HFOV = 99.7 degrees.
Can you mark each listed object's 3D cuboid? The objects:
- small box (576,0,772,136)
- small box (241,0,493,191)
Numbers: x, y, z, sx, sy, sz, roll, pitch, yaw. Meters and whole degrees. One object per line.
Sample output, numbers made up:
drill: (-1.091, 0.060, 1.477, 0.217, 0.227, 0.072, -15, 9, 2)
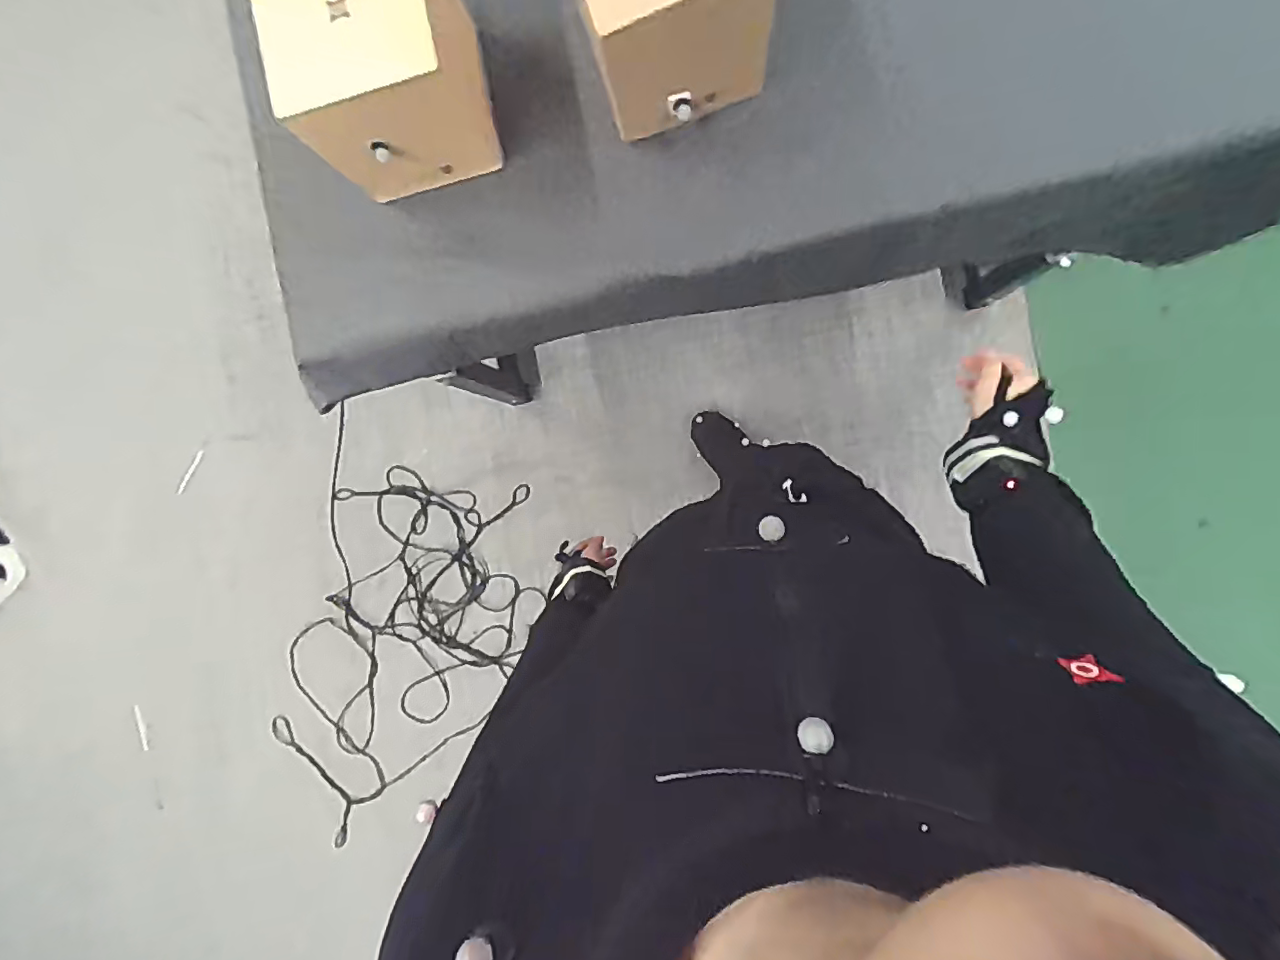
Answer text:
small box: (0.021, -0.493, 0.532, 0.168, 0.176, 0.179, -19, 89, 8)
small box: (-0.271, -0.435, 0.566, 0.168, 0.176, 0.179, -13, 89, 6)
